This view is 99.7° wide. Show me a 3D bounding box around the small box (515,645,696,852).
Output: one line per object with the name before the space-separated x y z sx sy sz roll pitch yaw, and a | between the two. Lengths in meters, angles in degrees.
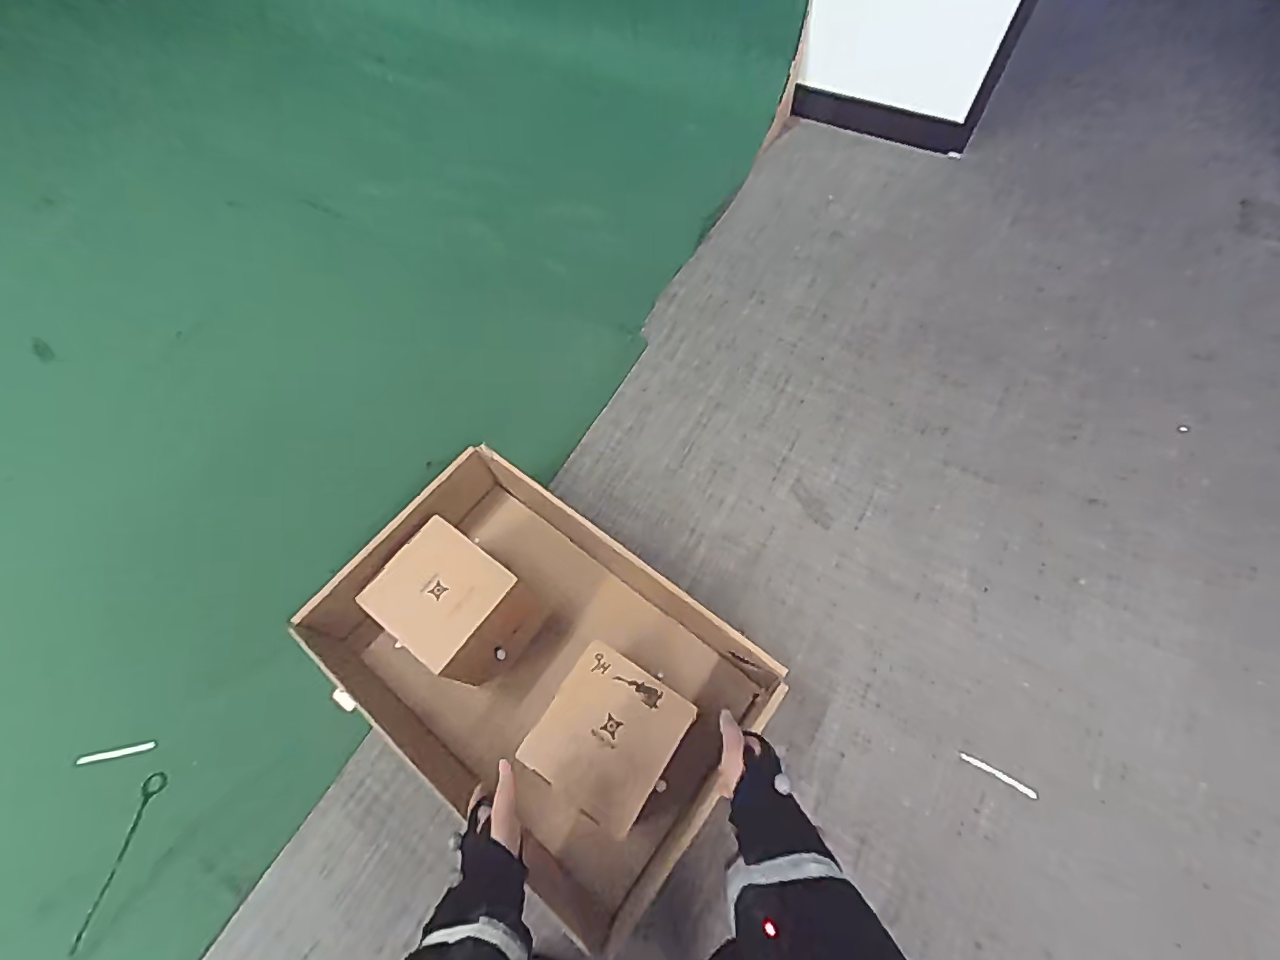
small box | -0.036 0.359 0.740 0.168 0.176 0.179 30 69 17
